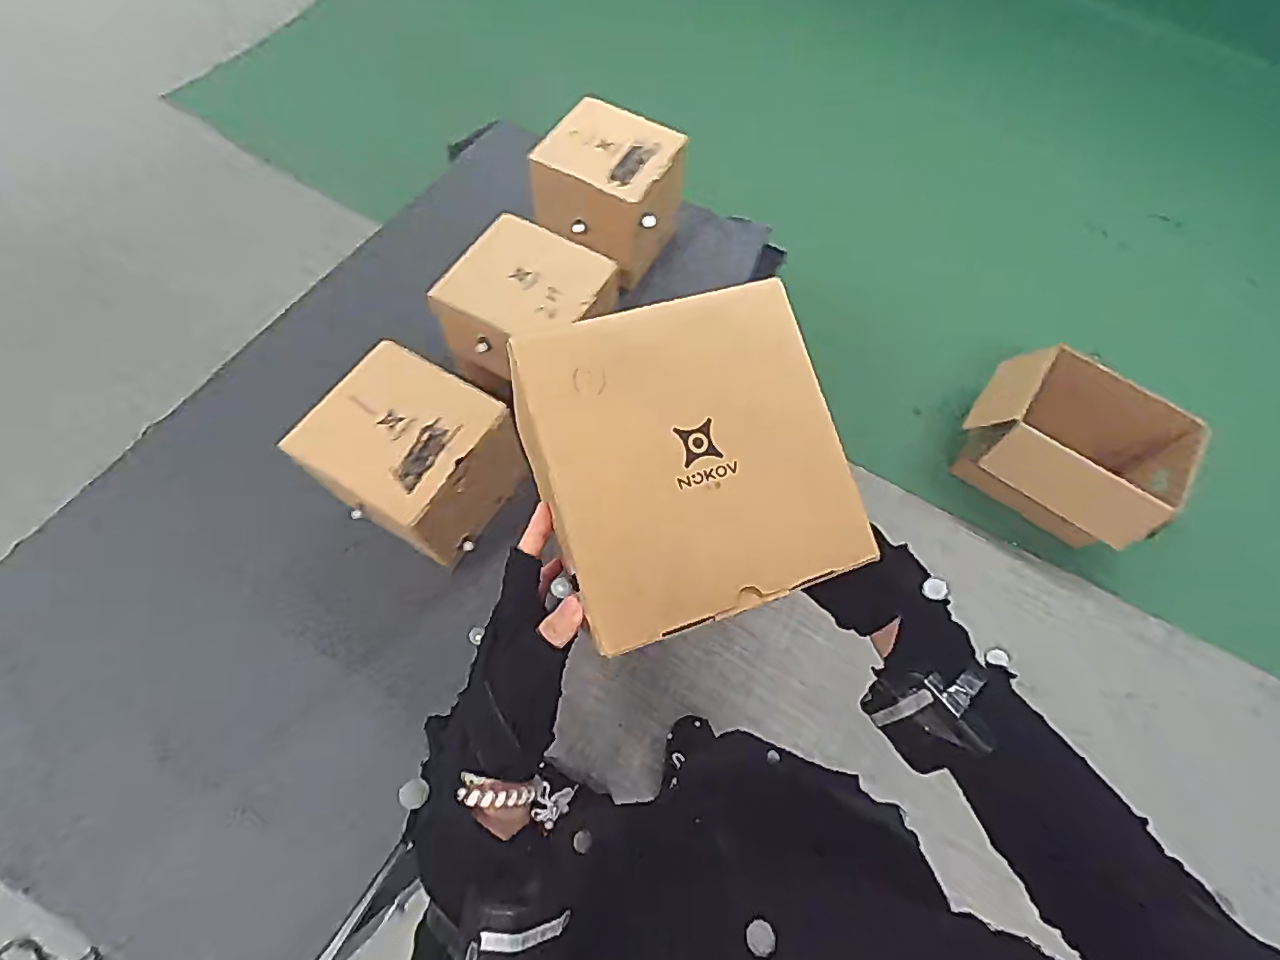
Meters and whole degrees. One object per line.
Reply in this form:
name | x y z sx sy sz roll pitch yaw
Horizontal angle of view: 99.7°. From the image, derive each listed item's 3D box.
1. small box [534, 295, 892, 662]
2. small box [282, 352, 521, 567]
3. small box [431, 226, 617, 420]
small box | 0.027 0.004 0.373 0.168 0.176 0.179 -16 84 -13
small box | -0.264 -0.013 0.651 0.179 0.176 0.168 29 66 10
small box | -0.147 -0.203 0.745 0.179 0.176 0.168 28 67 9
